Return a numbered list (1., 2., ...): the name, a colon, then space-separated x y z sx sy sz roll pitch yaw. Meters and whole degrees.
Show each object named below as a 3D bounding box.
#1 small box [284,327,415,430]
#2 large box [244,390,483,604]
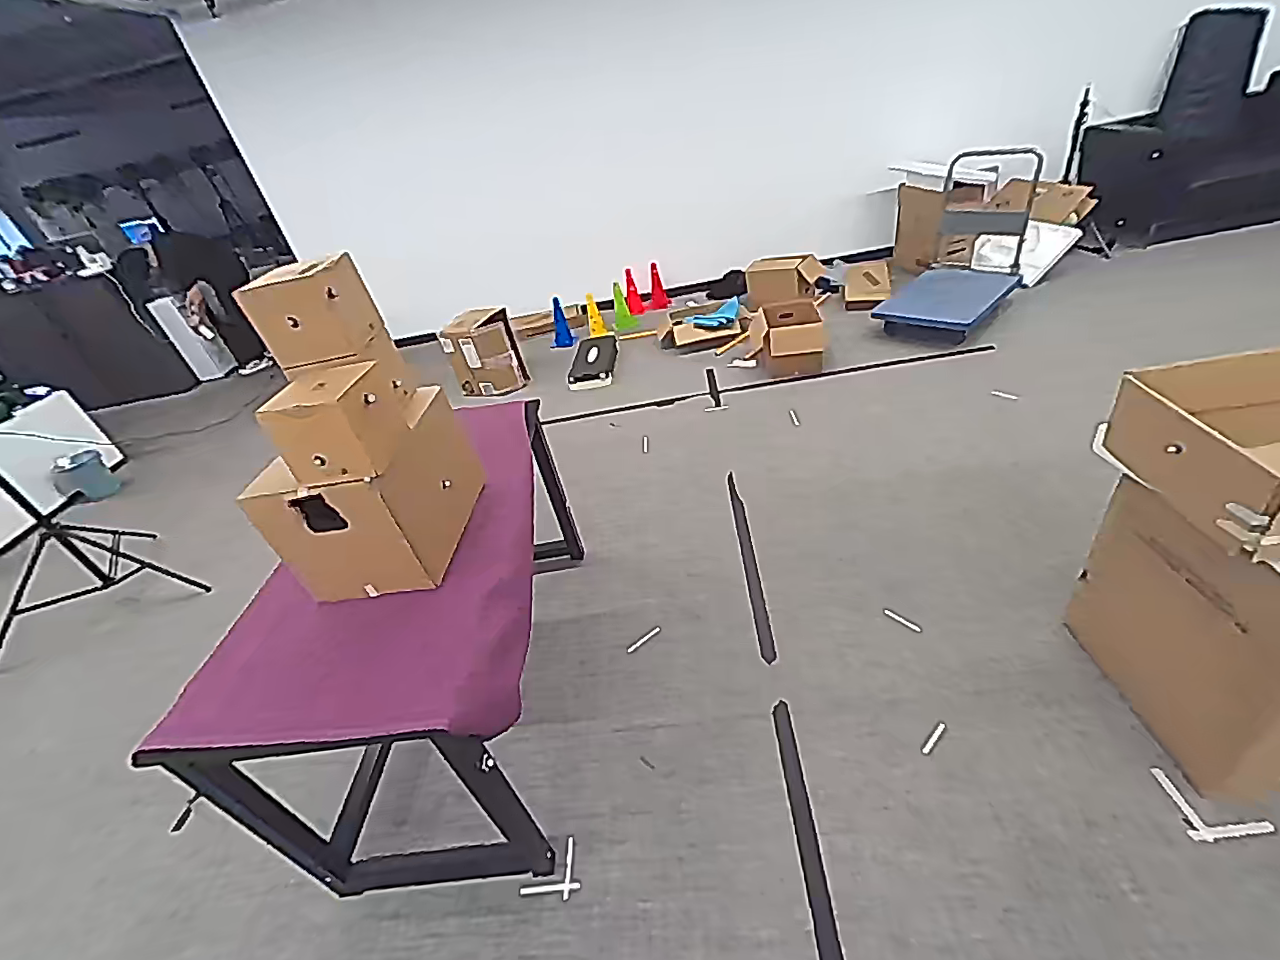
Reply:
1. small box: -0.657 -0.230 1.247 0.179 0.176 0.168 -9 37 7
2. large box: -0.612 0.032 1.299 0.320 0.320 0.408 -10 36 8
